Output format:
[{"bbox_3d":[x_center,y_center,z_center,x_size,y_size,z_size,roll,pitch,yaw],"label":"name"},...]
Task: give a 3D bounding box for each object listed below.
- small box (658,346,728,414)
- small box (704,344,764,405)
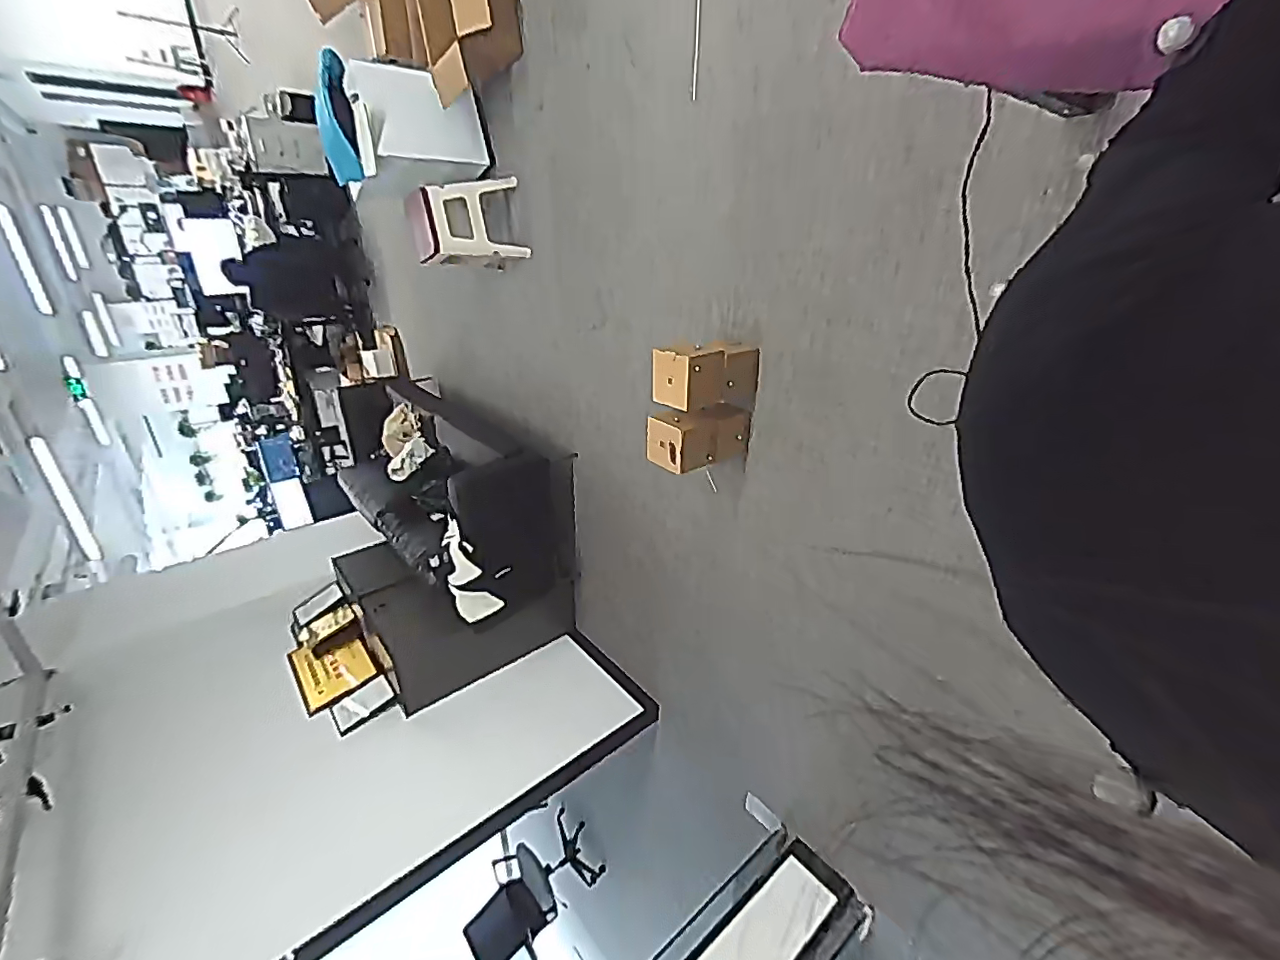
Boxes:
[{"bbox_3d":[0.174,-0.334,1.781,0.168,0.176,0.179,25,124,44],"label":"small box"},{"bbox_3d":[0.302,-0.372,1.876,0.179,0.176,0.168,27,127,45],"label":"small box"}]
